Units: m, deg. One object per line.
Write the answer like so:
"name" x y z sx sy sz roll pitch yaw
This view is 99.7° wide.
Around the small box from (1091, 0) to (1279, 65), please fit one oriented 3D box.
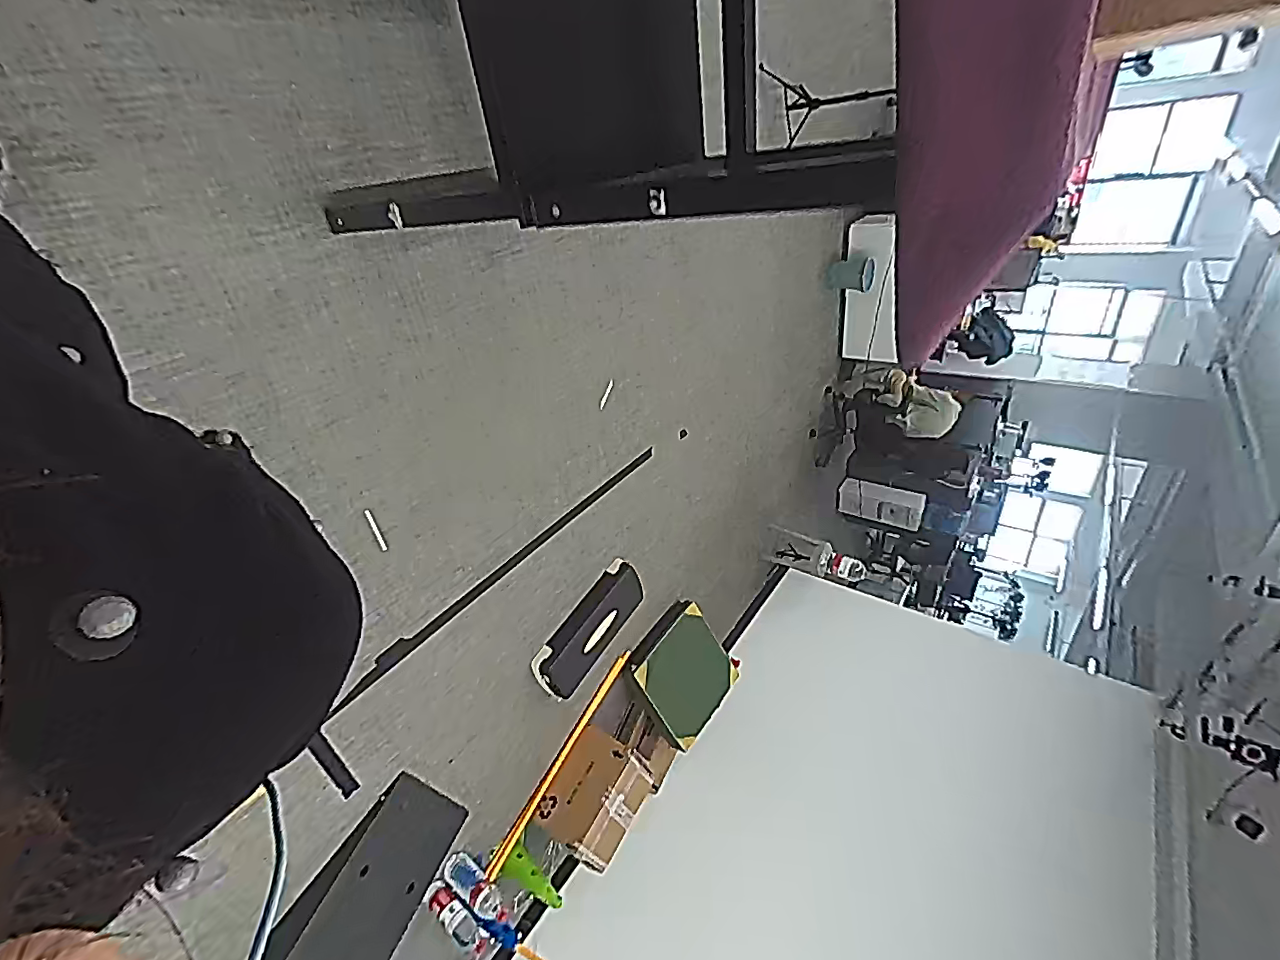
"small box" 0.542 -0.502 0.496 0.179 0.176 0.168 -36 130 -43
